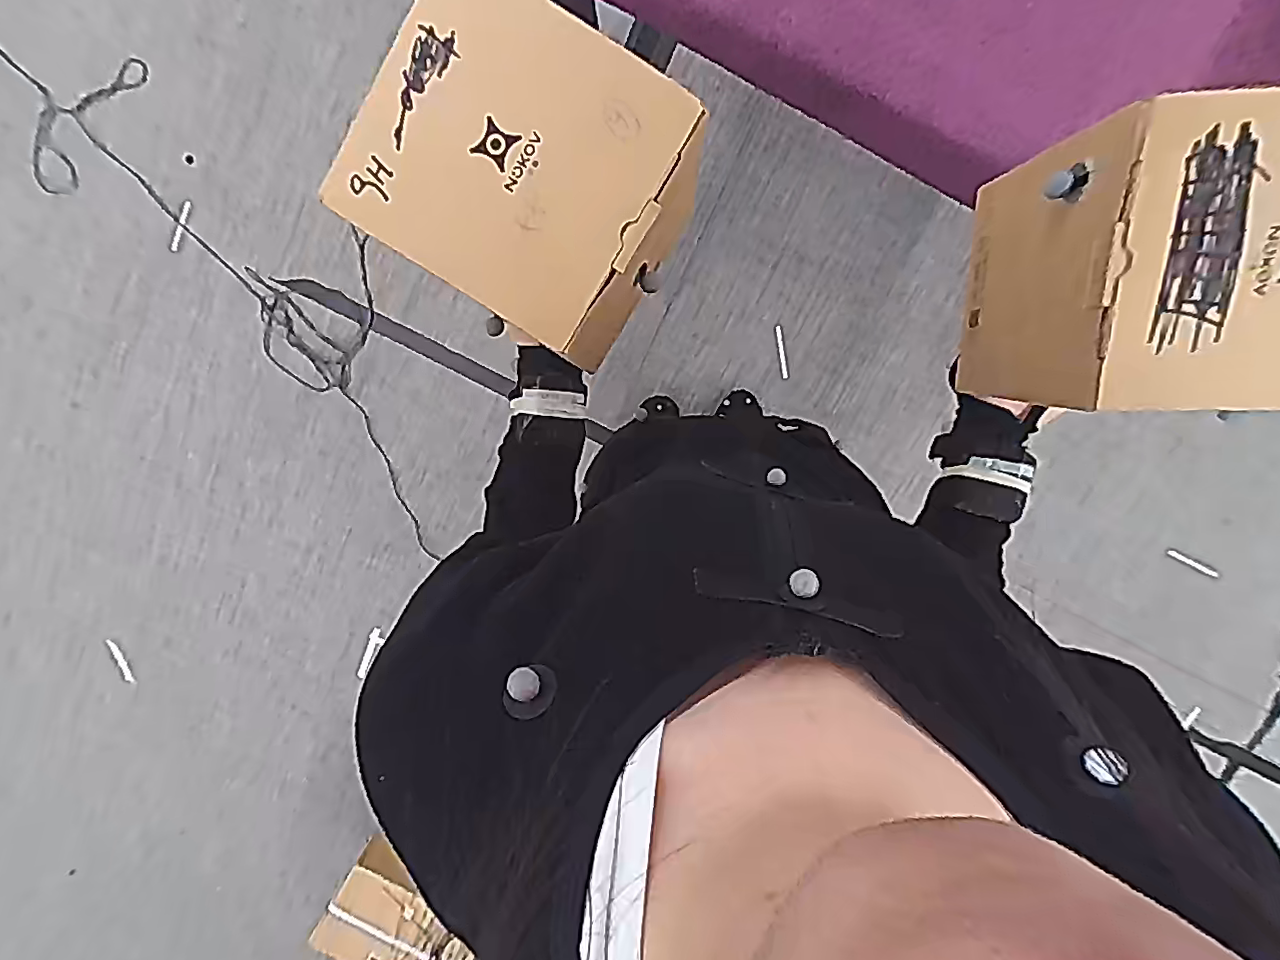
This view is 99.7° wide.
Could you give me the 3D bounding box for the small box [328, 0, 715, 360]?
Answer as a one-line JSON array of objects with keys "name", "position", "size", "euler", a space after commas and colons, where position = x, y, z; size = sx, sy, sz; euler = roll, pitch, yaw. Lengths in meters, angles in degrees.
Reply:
[{"name": "small box", "position": [-0.069, -0.201, 0.394], "size": [0.179, 0.176, 0.168], "euler": [32, 97, -3]}]
